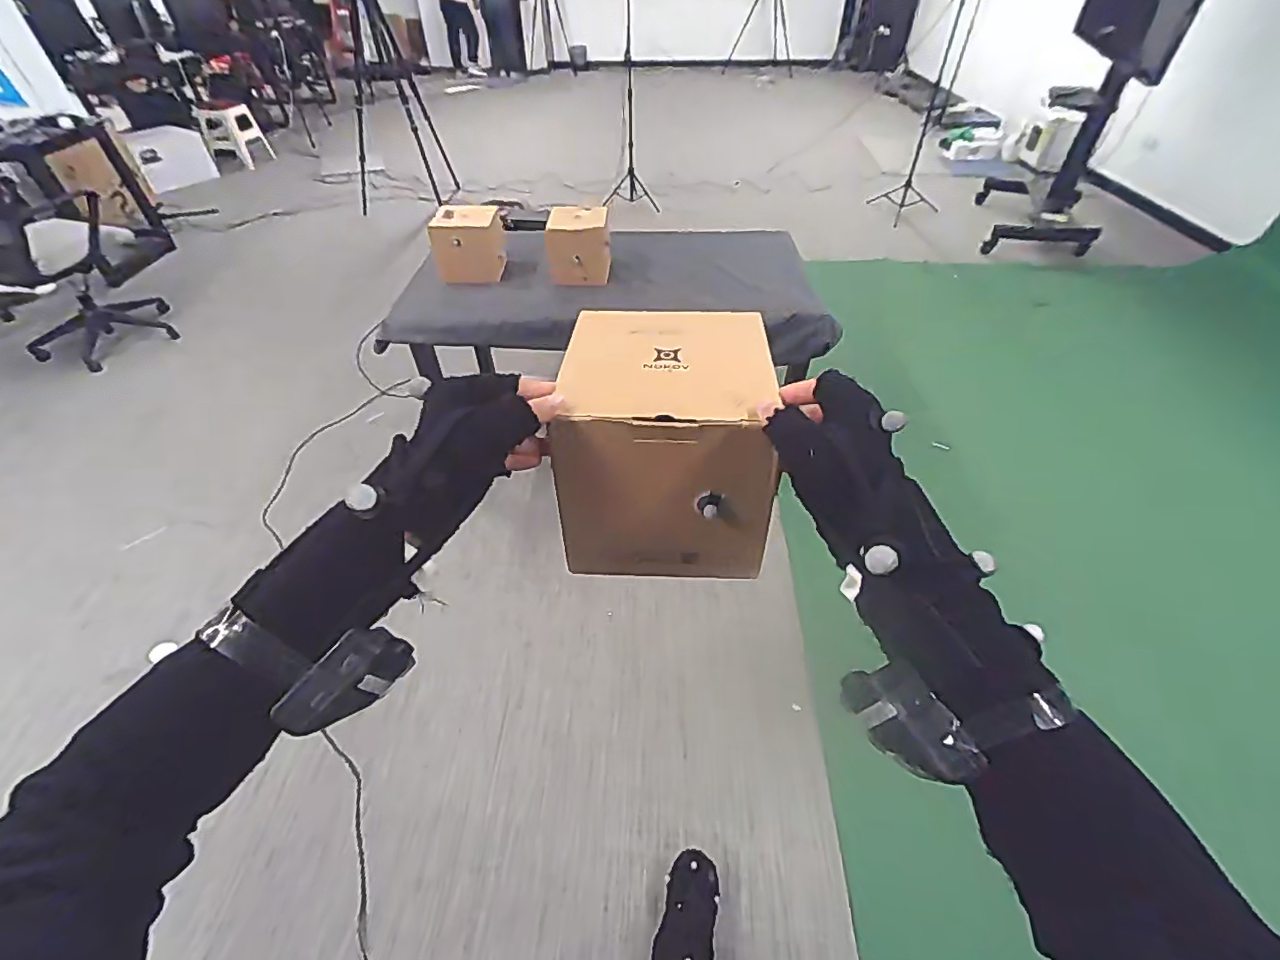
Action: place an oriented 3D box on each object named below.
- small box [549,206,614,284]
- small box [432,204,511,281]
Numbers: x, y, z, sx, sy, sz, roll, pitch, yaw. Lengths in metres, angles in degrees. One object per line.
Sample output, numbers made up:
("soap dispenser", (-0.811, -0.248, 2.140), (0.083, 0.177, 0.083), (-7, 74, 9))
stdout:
("small box", (-0.168, -0.700, 1.614), (0.168, 0.176, 0.179), (1, 46, 2))
("small box", (-0.499, -0.712, 1.624), (0.179, 0.176, 0.168), (0, 45, -1))
